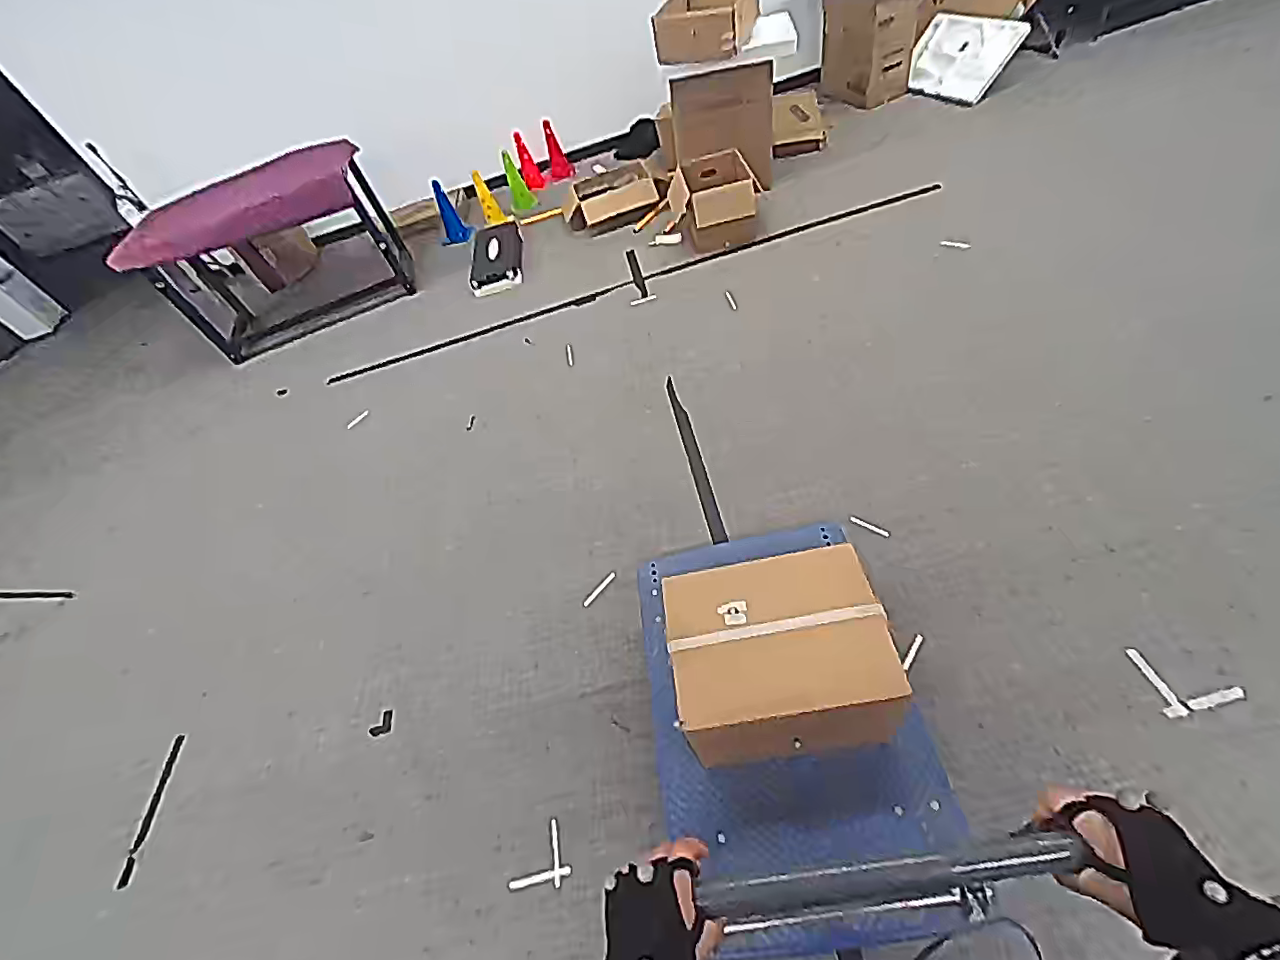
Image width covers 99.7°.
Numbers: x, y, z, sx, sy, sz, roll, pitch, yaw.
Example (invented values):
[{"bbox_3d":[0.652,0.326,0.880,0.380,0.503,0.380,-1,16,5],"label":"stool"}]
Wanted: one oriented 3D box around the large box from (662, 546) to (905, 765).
[{"bbox_3d":[0.290,0.388,1.163,0.408,0.320,0.320,-13,48,7],"label":"large box"}]
